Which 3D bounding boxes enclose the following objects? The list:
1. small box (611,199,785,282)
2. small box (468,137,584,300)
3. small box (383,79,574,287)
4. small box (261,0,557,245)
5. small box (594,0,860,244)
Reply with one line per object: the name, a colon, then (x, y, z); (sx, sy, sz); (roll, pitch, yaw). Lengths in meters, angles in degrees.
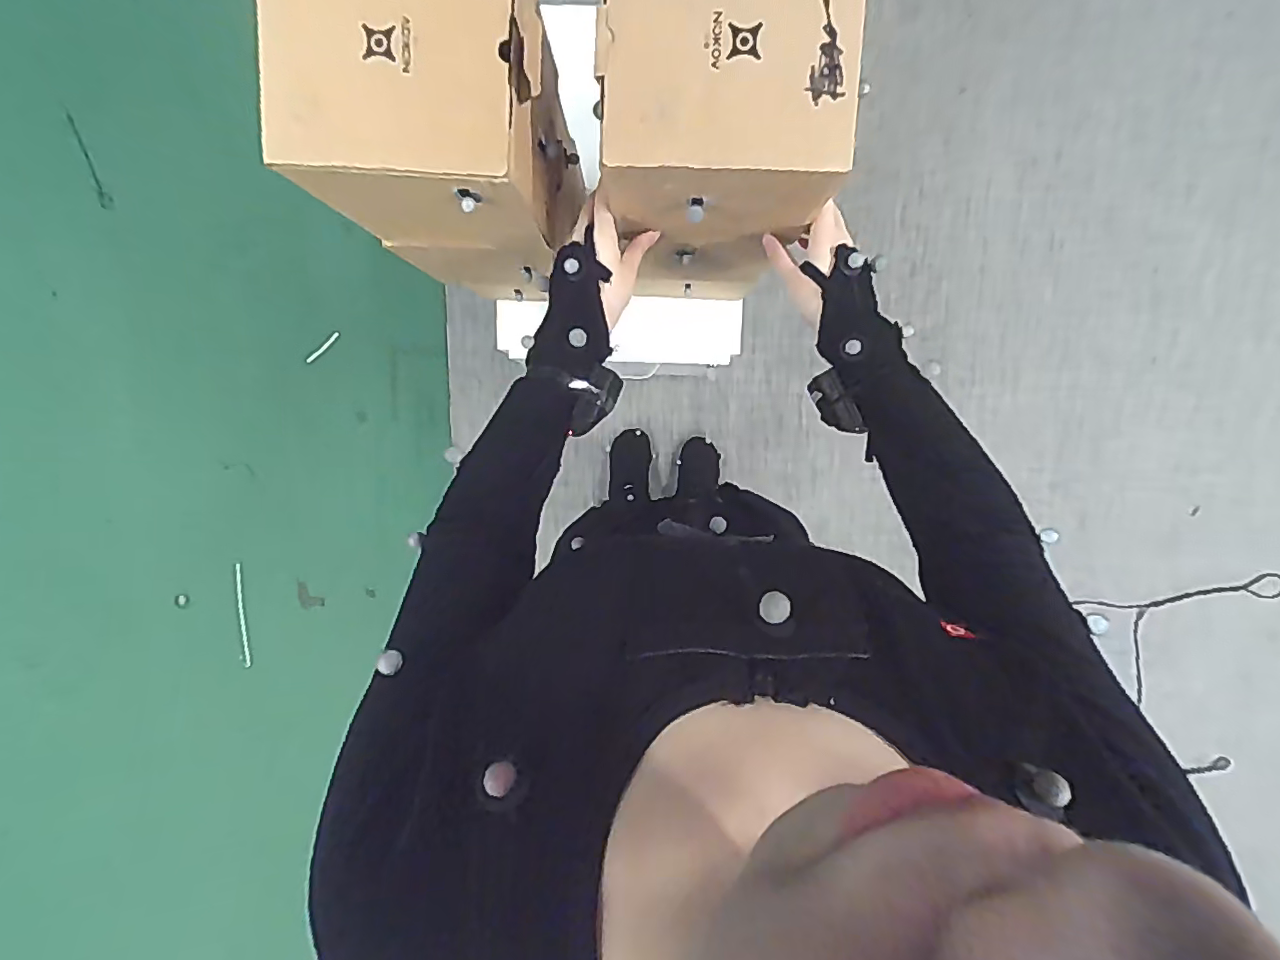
small box: (0.066, -0.327, 0.605); (0.179, 0.176, 0.168); (4, 98, 1)
small box: (-0.168, -0.360, 0.770); (0.168, 0.176, 0.179); (1, 98, -1)
small box: (-0.169, -0.322, 0.611); (0.179, 0.176, 0.168); (1, 97, 1)
small box: (-0.172, -0.307, 0.448); (0.179, 0.176, 0.168); (3, 97, -1)
small box: (0.063, -0.303, 0.443); (0.179, 0.176, 0.168); (2, 98, 3)
